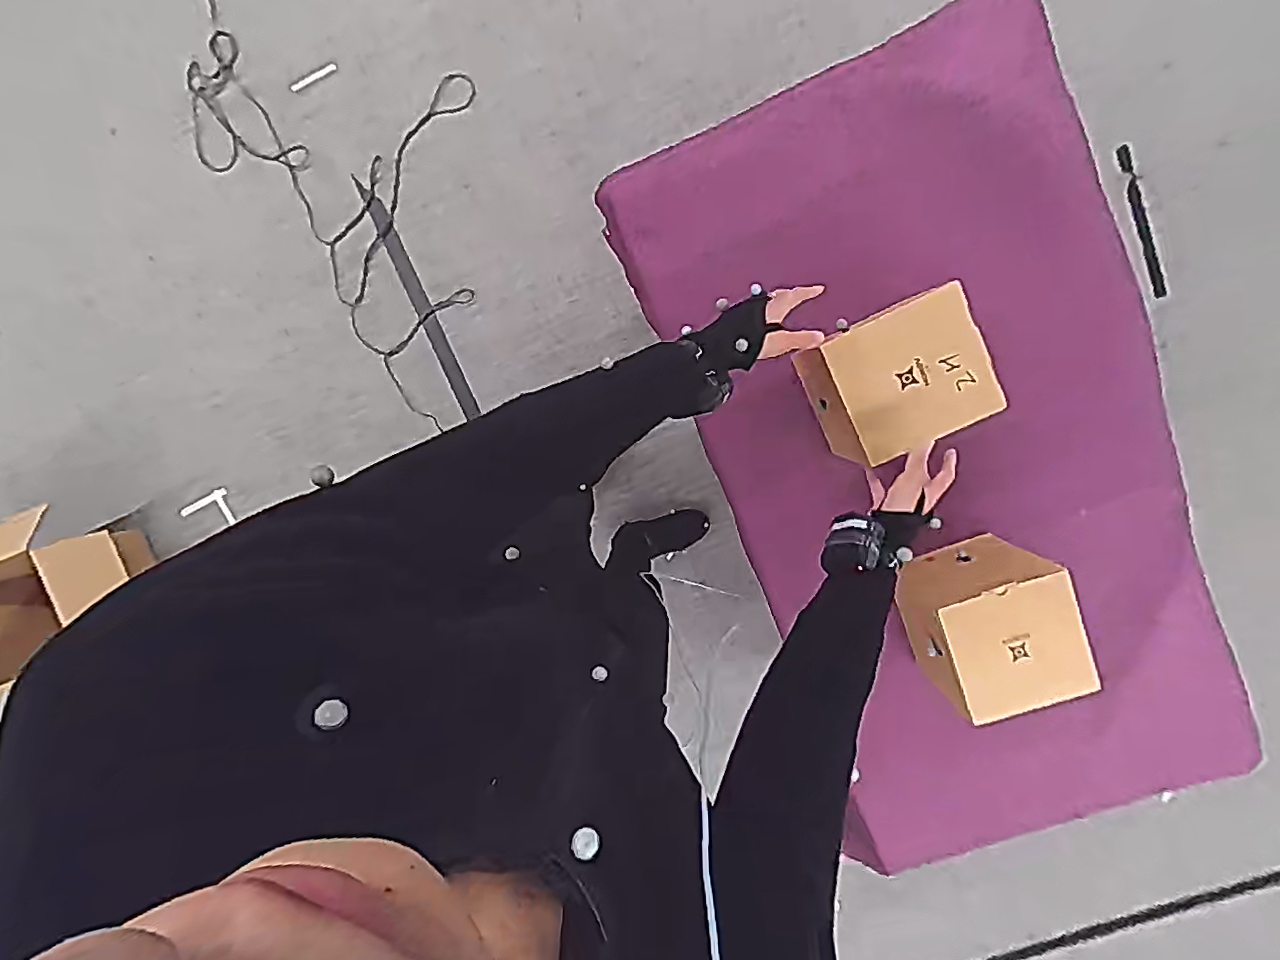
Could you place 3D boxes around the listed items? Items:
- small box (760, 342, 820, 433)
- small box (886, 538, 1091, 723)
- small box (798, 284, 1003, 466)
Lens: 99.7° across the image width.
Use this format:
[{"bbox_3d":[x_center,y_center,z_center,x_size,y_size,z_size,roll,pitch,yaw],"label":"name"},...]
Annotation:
[{"bbox_3d":[0.413,-0.233,1.329,0.168,0.176,0.179,-26,99,7],"label":"small box"},{"bbox_3d":[0.483,0.204,0.775,0.168,0.176,0.179,-20,97,7],"label":"small box"},{"bbox_3d":[0.328,-0.134,0.725,0.179,0.176,0.168,-25,98,7],"label":"small box"}]
